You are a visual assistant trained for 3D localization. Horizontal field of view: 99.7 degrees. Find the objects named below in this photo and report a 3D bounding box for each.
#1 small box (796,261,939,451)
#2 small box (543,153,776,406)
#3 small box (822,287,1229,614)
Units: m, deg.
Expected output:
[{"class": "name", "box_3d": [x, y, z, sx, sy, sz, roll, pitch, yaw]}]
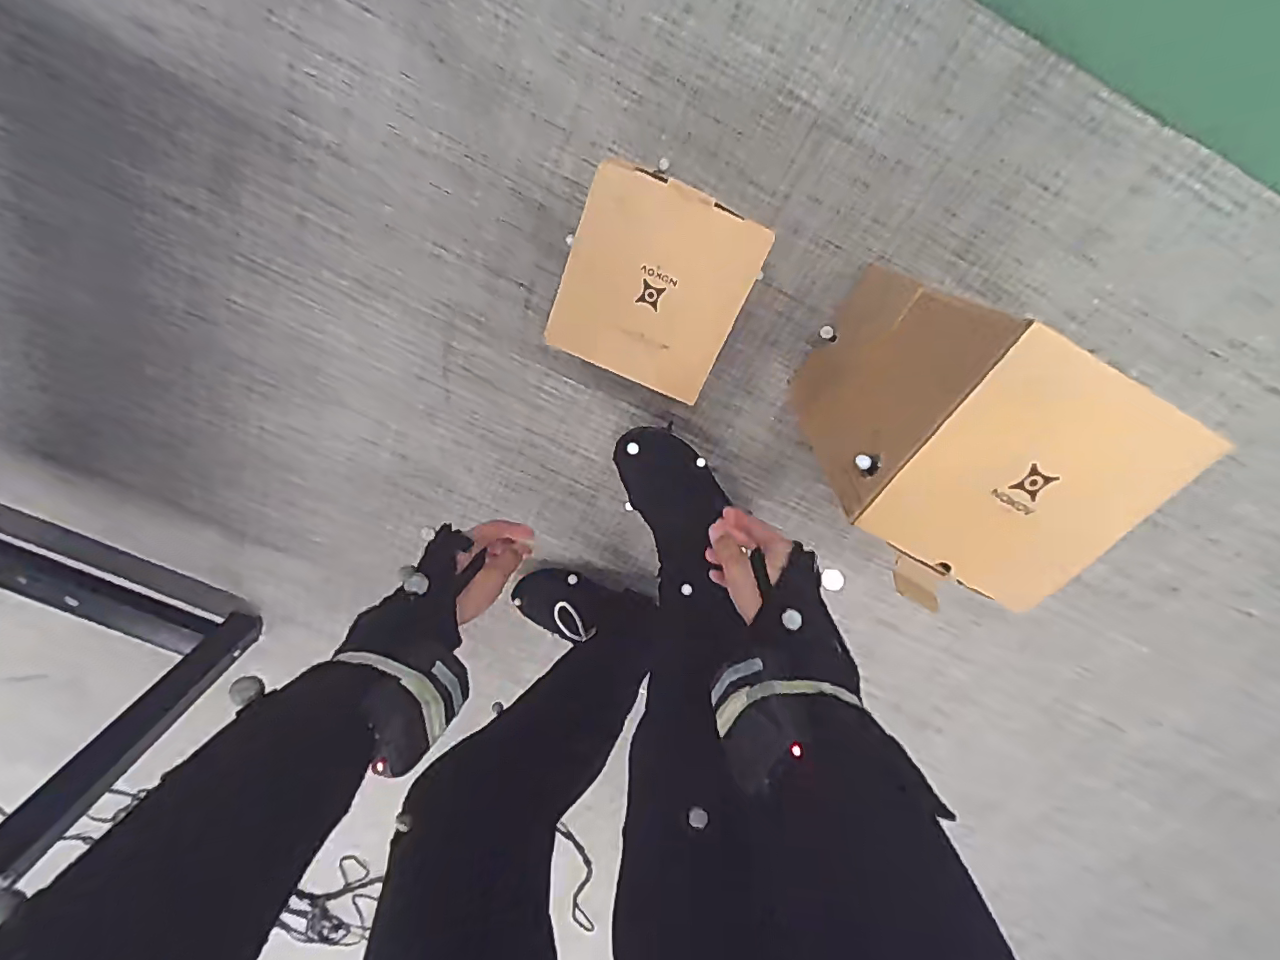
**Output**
[{"class": "small box", "box_3d": [0.286, -0.110, 0.583, 0.168, 0.176, 0.179, 26, 119, -8]}, {"class": "small box", "box_3d": [0.019, -0.209, 0.563, 0.168, 0.176, 0.179, 22, 119, -4]}, {"class": "small box", "box_3d": [0.273, -0.034, 0.440, 0.168, 0.176, 0.179, 27, 117, -8]}]
